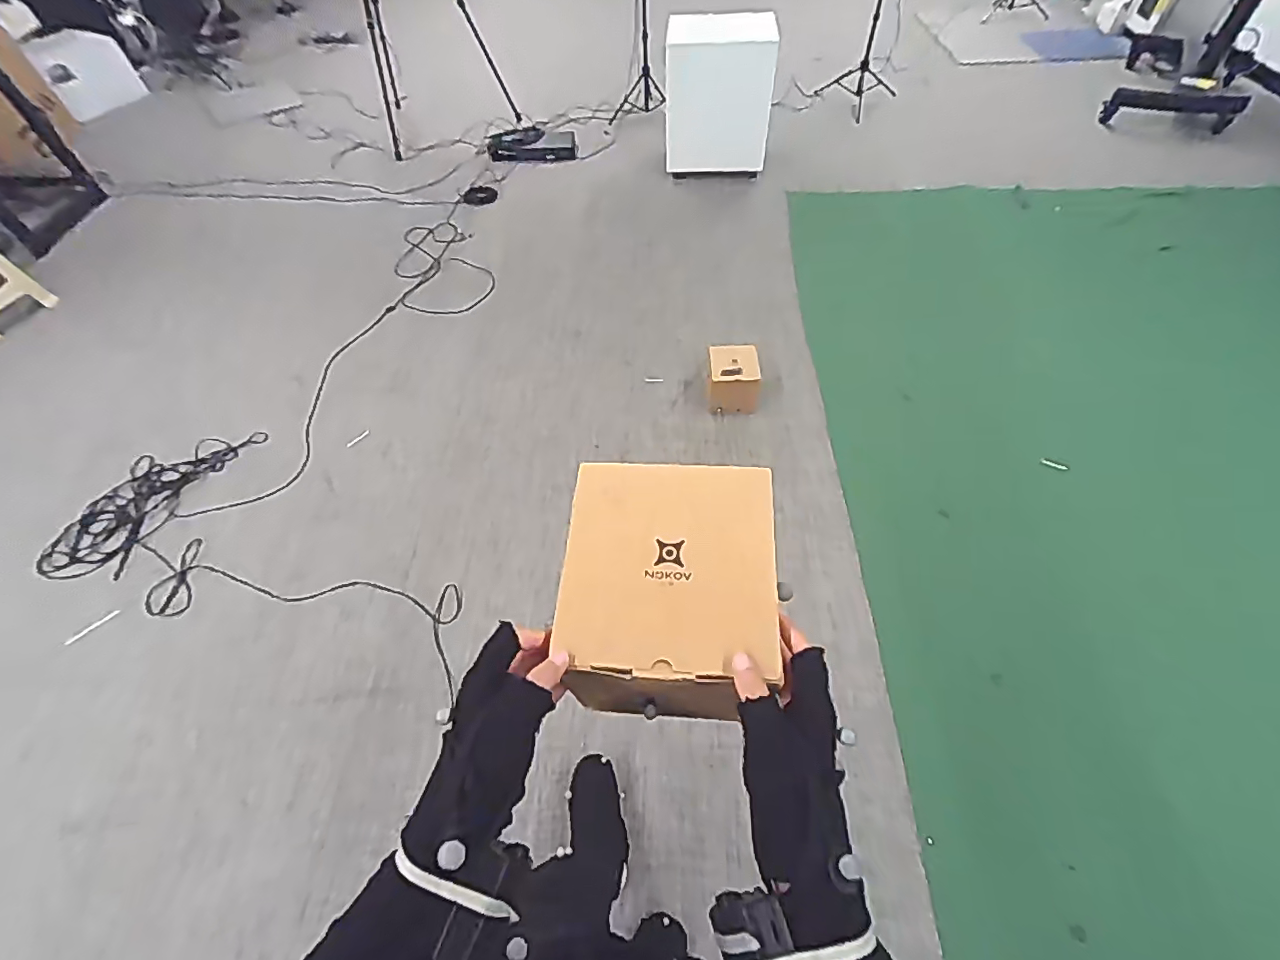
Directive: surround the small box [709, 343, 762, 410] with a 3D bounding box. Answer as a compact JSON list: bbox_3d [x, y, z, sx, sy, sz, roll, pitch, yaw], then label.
[{"bbox_3d":[0.334,-0.362,1.914,0.168,0.176,0.179,-1,55,2],"label":"small box"}]
